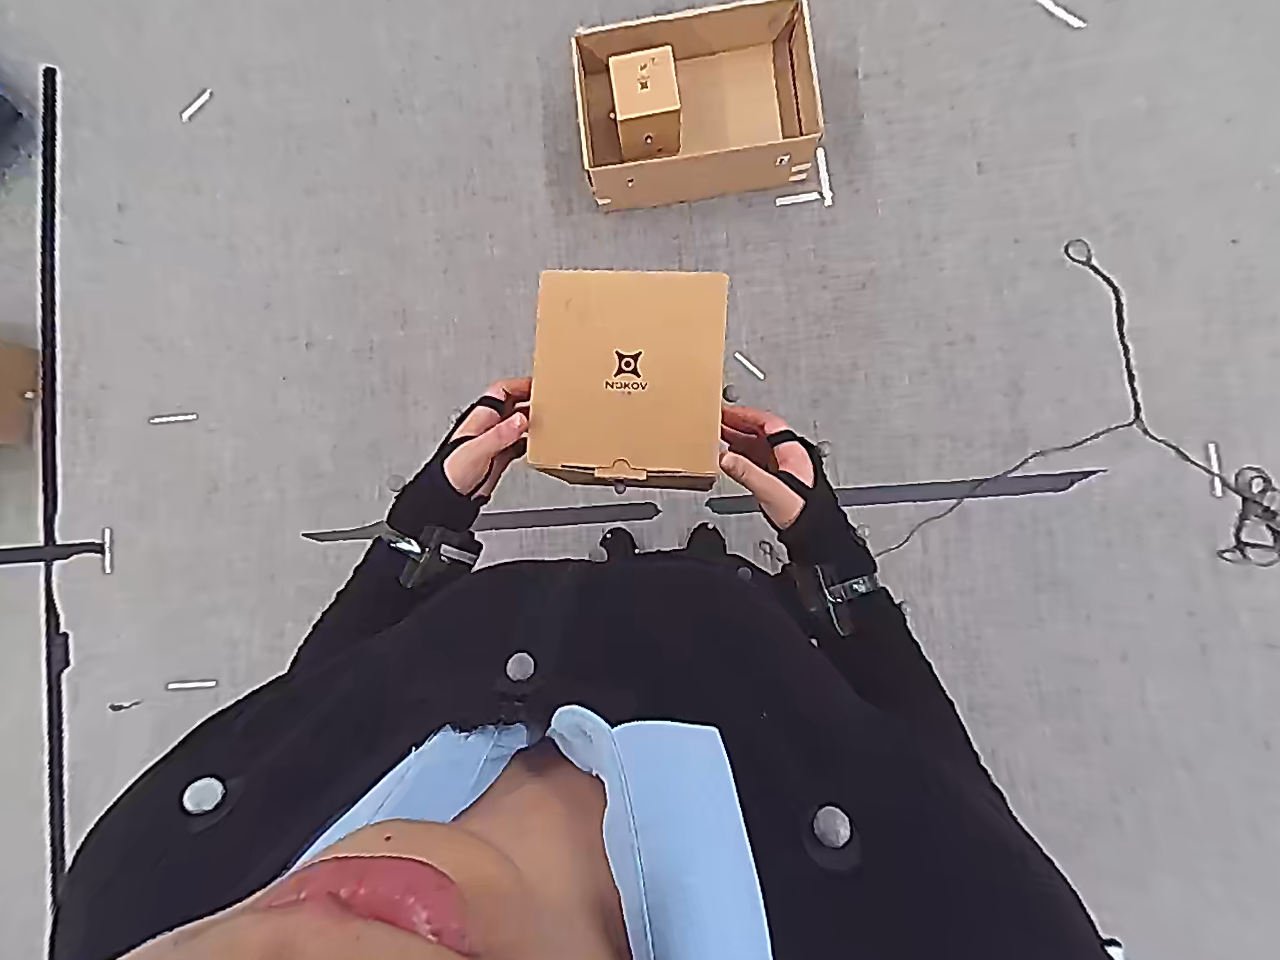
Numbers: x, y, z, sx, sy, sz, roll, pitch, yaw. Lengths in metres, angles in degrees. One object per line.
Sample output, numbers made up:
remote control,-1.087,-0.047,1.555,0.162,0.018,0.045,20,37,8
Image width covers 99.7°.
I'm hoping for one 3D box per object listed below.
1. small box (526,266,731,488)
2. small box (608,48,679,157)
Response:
small box,-0.004,-0.089,0.535,0.168,0.176,0.179,3,86,5
small box,0.014,-1.005,1.461,0.168,0.176,0.179,-8,86,3
